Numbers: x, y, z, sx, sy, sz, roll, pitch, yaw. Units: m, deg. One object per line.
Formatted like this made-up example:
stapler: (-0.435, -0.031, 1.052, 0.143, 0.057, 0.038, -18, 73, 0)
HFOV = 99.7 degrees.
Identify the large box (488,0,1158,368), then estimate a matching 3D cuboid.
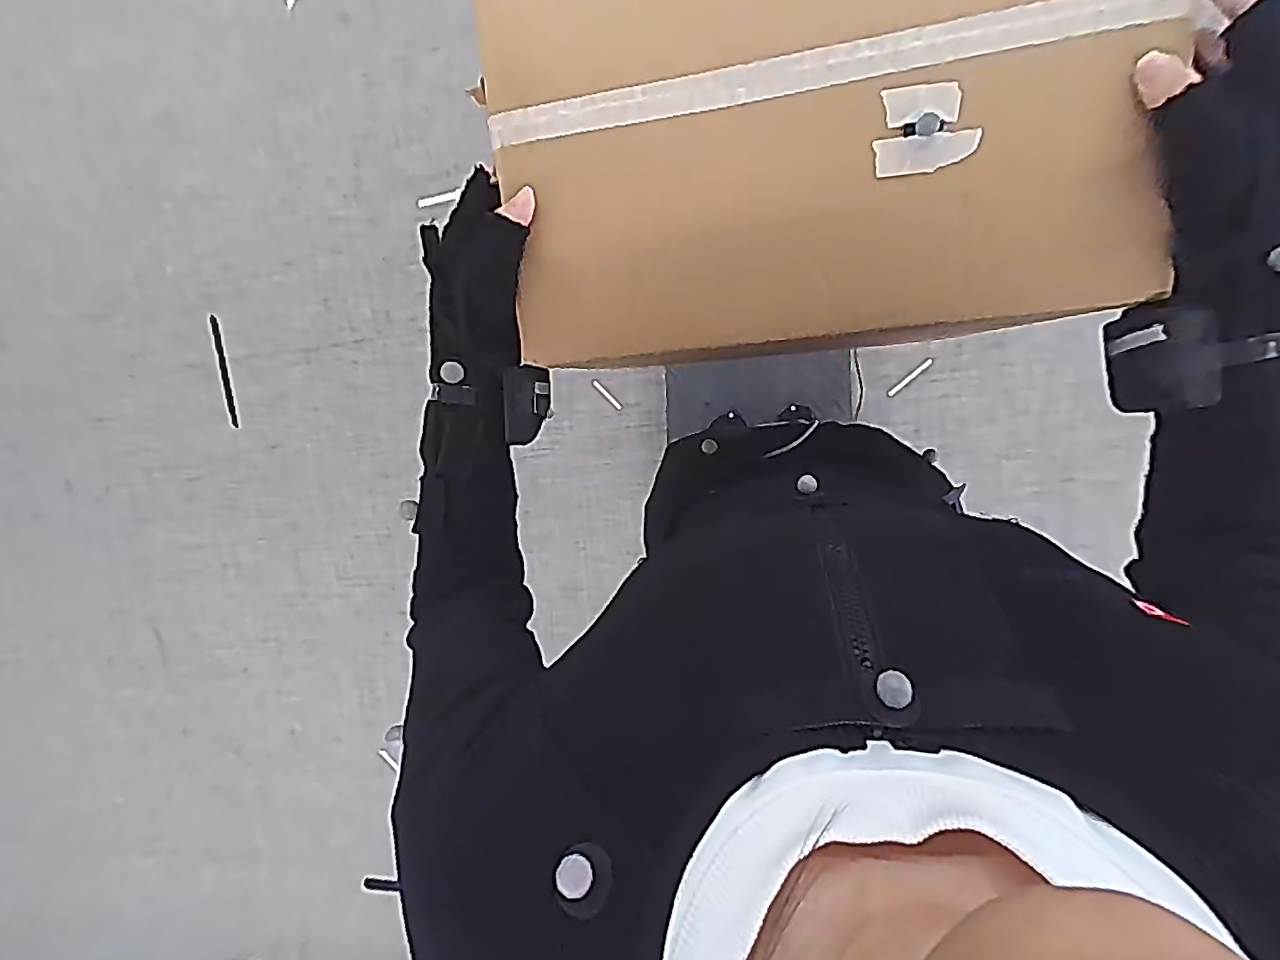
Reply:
large box: (0.123, -0.282, 0.488, 0.408, 0.320, 0.320, -4, 101, 10)
